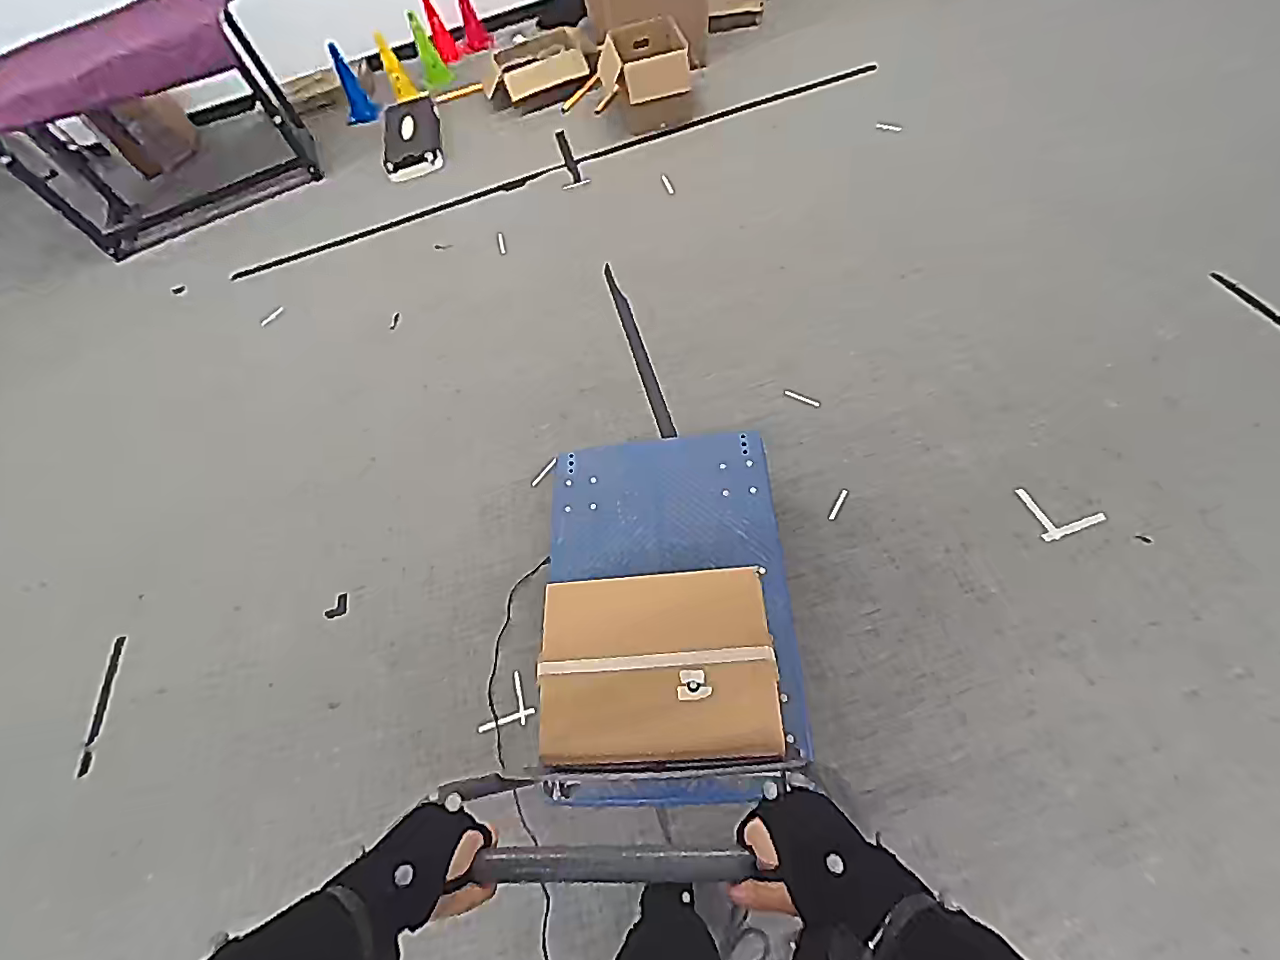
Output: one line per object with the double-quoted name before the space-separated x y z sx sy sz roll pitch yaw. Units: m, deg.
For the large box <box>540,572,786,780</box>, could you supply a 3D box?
"large box" 0.043 0.396 1.056 0.408 0.320 0.320 -7 61 6
